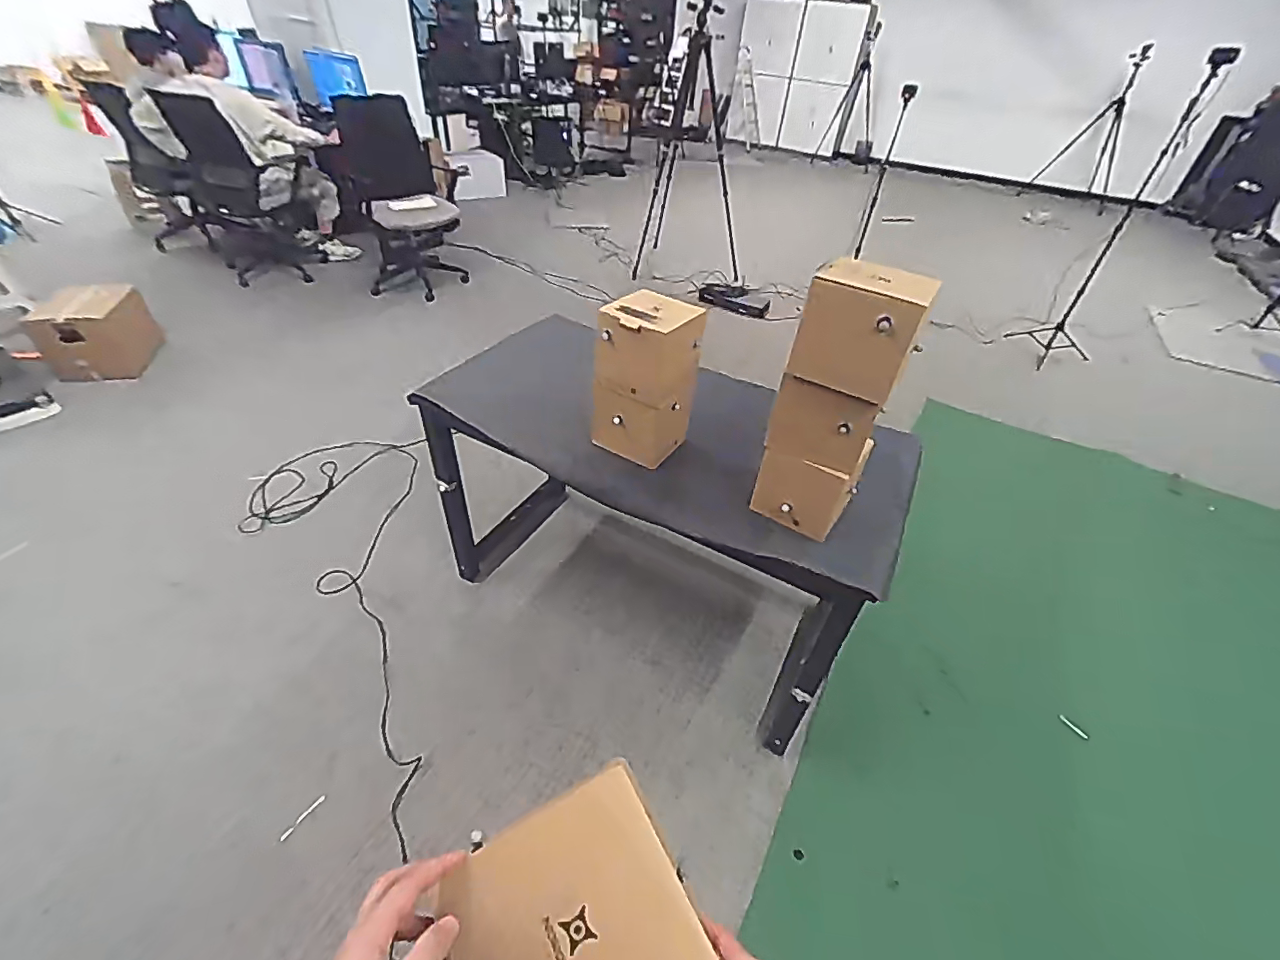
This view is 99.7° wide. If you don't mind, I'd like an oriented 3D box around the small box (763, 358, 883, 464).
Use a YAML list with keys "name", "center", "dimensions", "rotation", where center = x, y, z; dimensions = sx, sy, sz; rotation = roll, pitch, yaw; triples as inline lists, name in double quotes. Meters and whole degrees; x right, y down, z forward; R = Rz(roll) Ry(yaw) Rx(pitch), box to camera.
- name: "small box"
  center: [0.352, -0.150, 1.027]
  dimensions: [0.179, 0.176, 0.168]
  rotation: [20, 39, 20]

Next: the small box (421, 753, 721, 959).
- name: "small box"
  center: [-0.055, 0.361, 0.473]
  dimensions: [0.179, 0.176, 0.168]
  rotation: [-28, 68, -12]

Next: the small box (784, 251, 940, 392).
- name: "small box"
  center: [0.366, -0.264, 0.905]
  dimensions: [0.179, 0.176, 0.168]
  rotation: [25, 41, 23]

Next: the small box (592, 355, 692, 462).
- name: "small box"
  center: [0.001, -0.167, 1.267]
  dimensions: [0.179, 0.176, 0.168]
  rotation: [24, 43, 22]

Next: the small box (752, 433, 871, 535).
- name: "small box"
  center: [0.349, -0.020, 1.123]
  dimensions: [0.168, 0.176, 0.179]
  rotation: [26, 43, 25]
